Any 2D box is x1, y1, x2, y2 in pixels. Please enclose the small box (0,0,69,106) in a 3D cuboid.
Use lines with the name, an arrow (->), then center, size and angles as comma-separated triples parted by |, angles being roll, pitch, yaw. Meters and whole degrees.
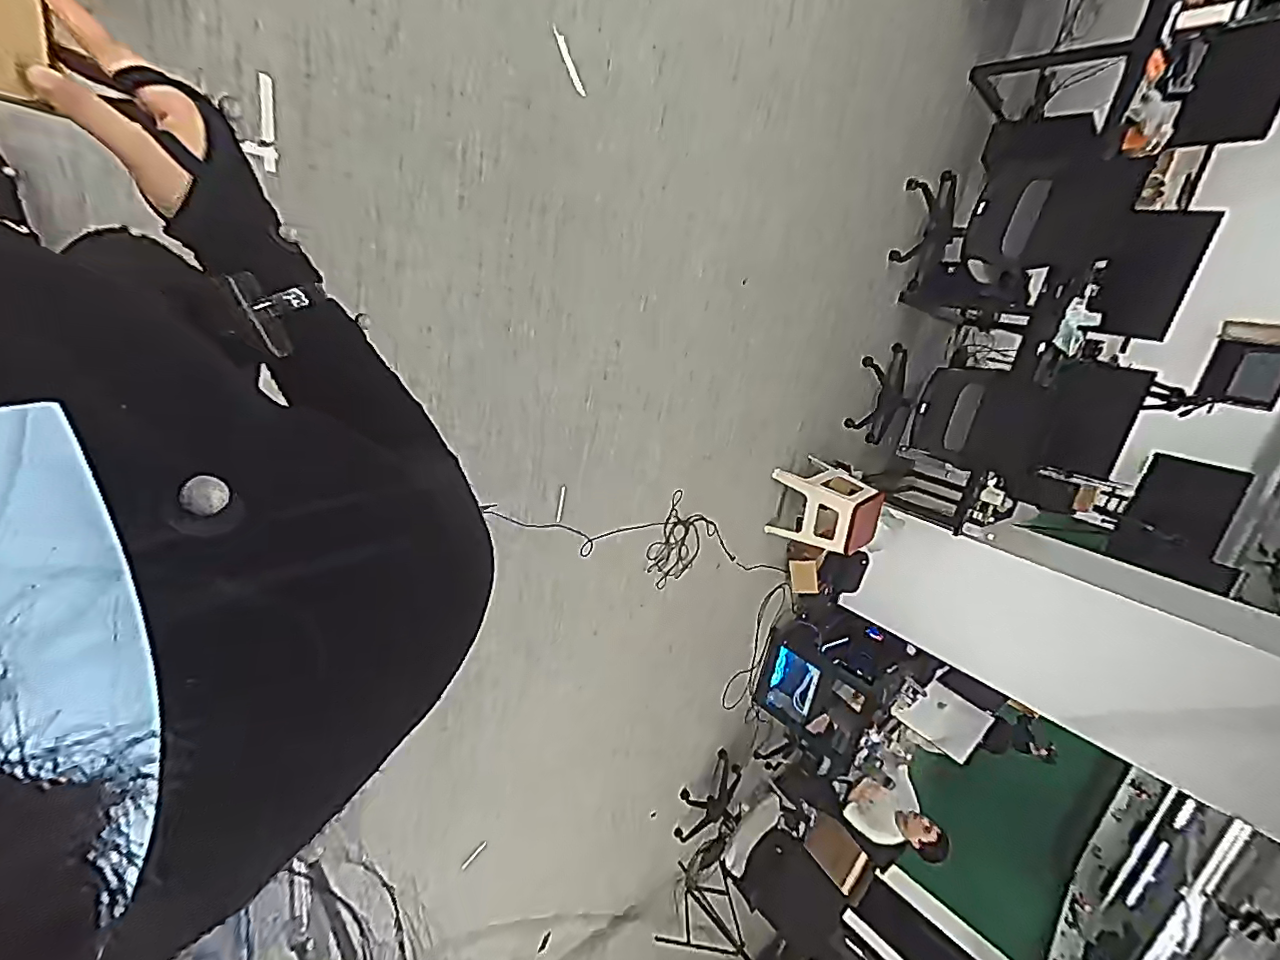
small box -> -0.432, -0.331, 0.286 | 0.168, 0.176, 0.179 | -2, 117, -42
